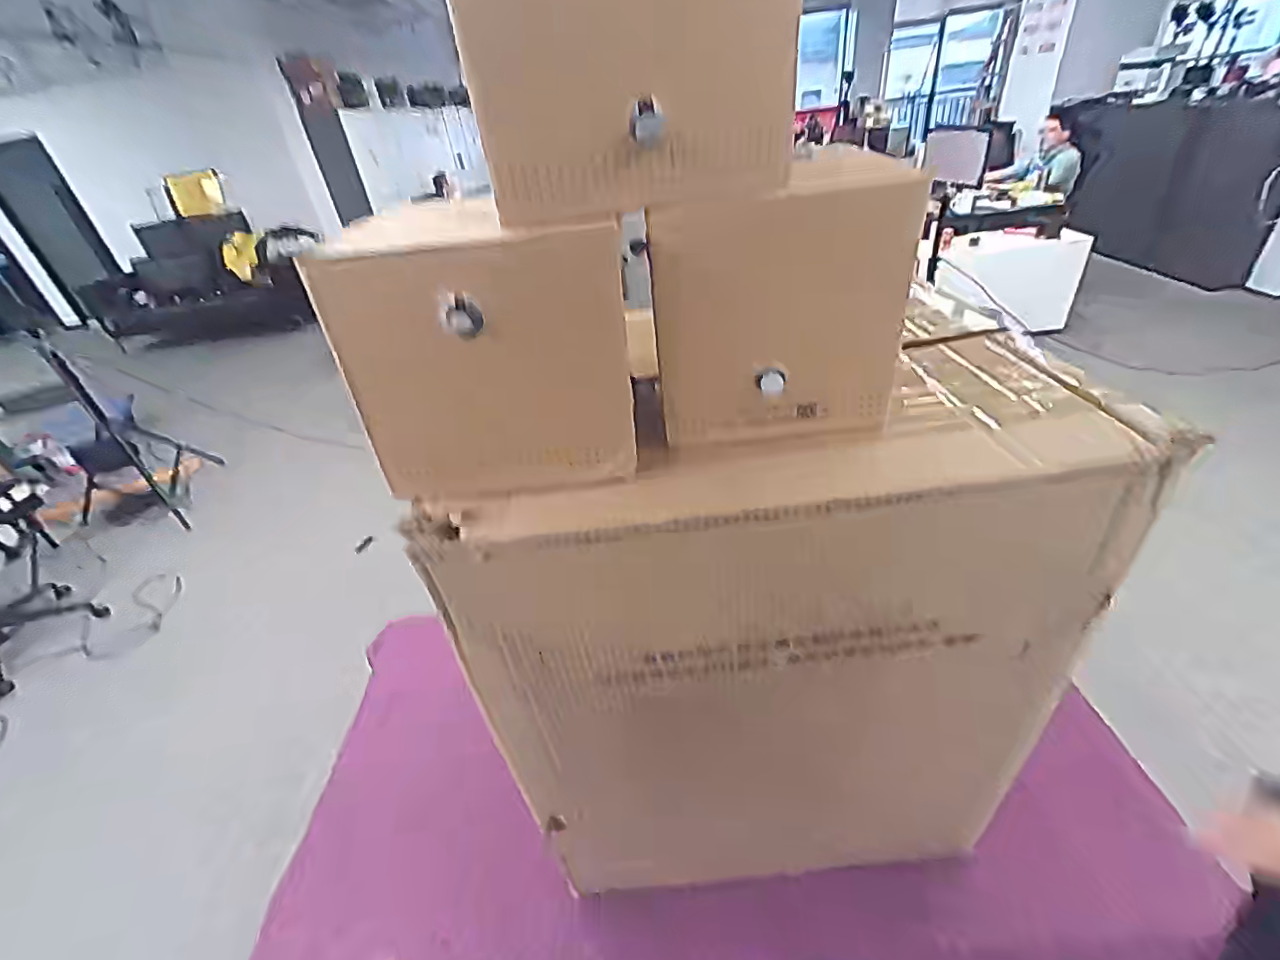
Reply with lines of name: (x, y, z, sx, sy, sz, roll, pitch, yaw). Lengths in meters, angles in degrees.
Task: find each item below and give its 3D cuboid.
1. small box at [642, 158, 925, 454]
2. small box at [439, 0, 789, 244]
small box: (0.091, -0.140, 0.426, 0.168, 0.176, 0.179, -6, 37, 4)
small box: (-0.020, -0.259, 0.332, 0.179, 0.176, 0.168, -12, 36, -6)
